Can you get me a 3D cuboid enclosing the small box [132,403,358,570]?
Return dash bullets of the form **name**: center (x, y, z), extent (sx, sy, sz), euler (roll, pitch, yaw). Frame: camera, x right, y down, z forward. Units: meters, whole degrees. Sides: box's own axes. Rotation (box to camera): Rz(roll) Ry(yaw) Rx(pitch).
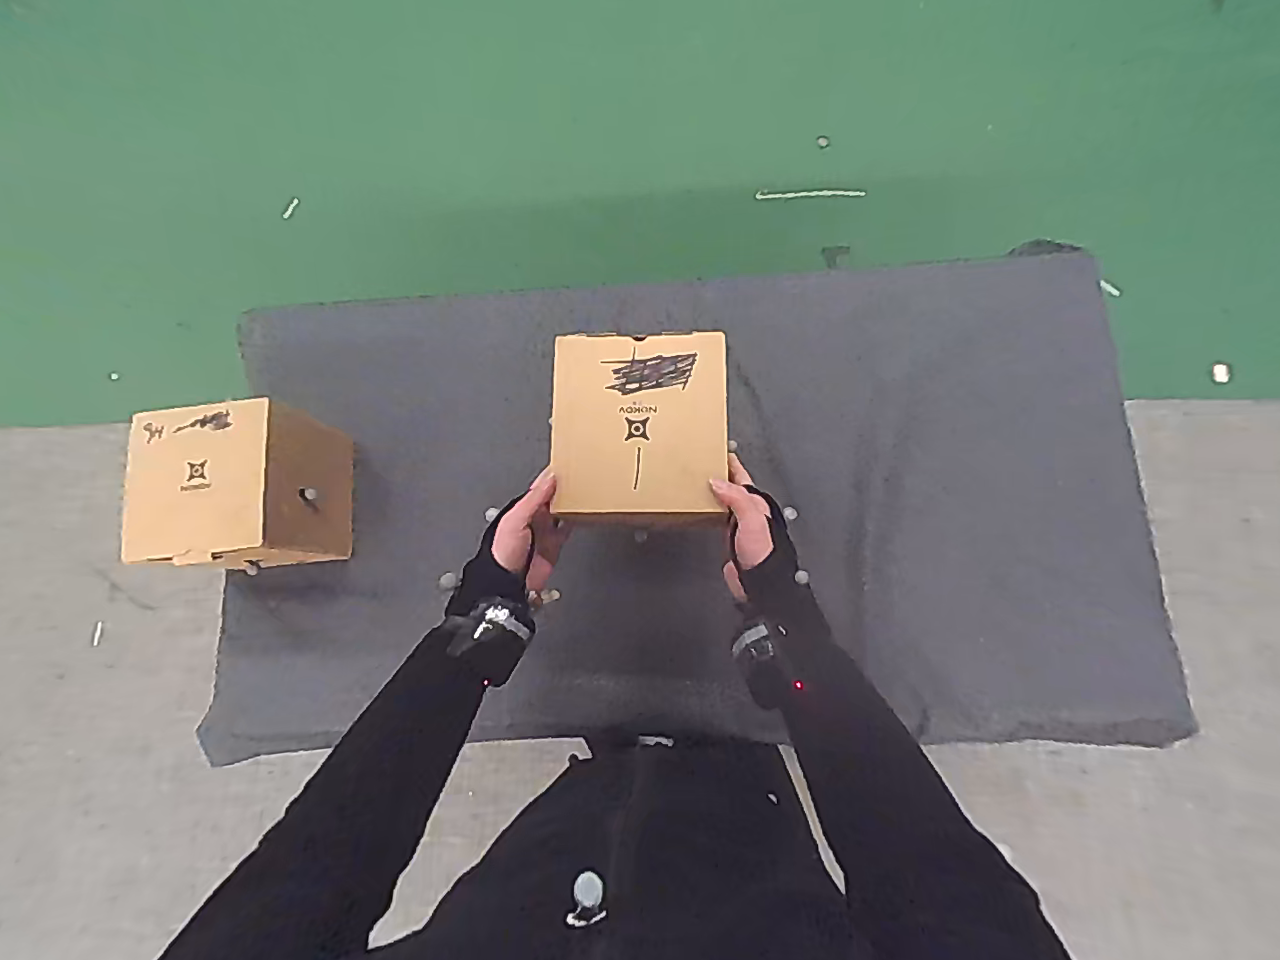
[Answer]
- **small box**: center (-0.482, 0.018, 0.685), extent (0.168, 0.176, 0.179), euler (-7, 79, 3)
